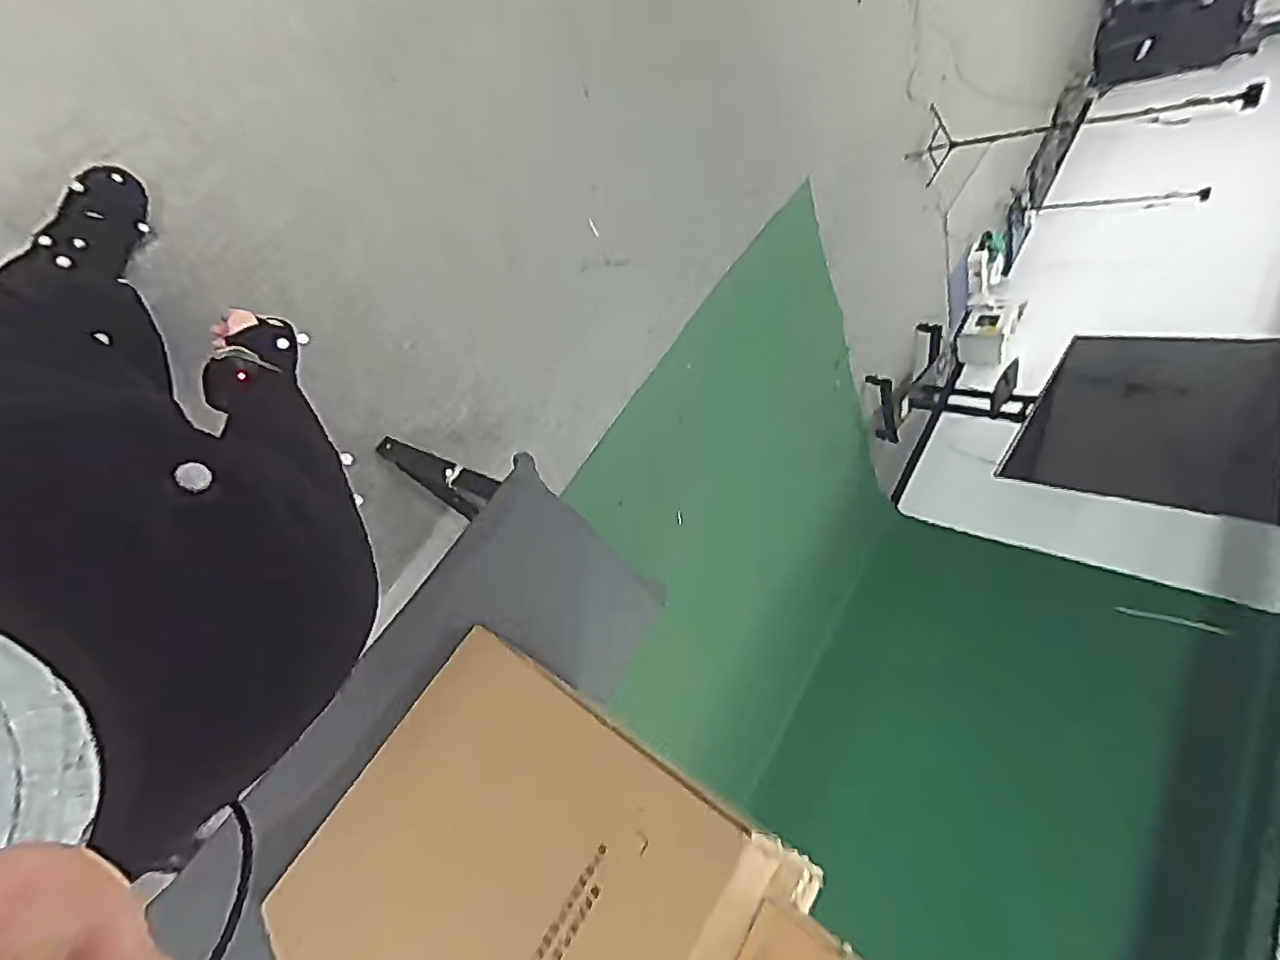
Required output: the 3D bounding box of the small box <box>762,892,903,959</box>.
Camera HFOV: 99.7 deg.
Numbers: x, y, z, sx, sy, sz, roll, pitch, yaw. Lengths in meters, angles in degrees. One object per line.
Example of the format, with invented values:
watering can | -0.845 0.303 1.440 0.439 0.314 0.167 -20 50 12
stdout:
small box | 0.240 0.634 0.644 0.168 0.176 0.179 -56 134 -19
